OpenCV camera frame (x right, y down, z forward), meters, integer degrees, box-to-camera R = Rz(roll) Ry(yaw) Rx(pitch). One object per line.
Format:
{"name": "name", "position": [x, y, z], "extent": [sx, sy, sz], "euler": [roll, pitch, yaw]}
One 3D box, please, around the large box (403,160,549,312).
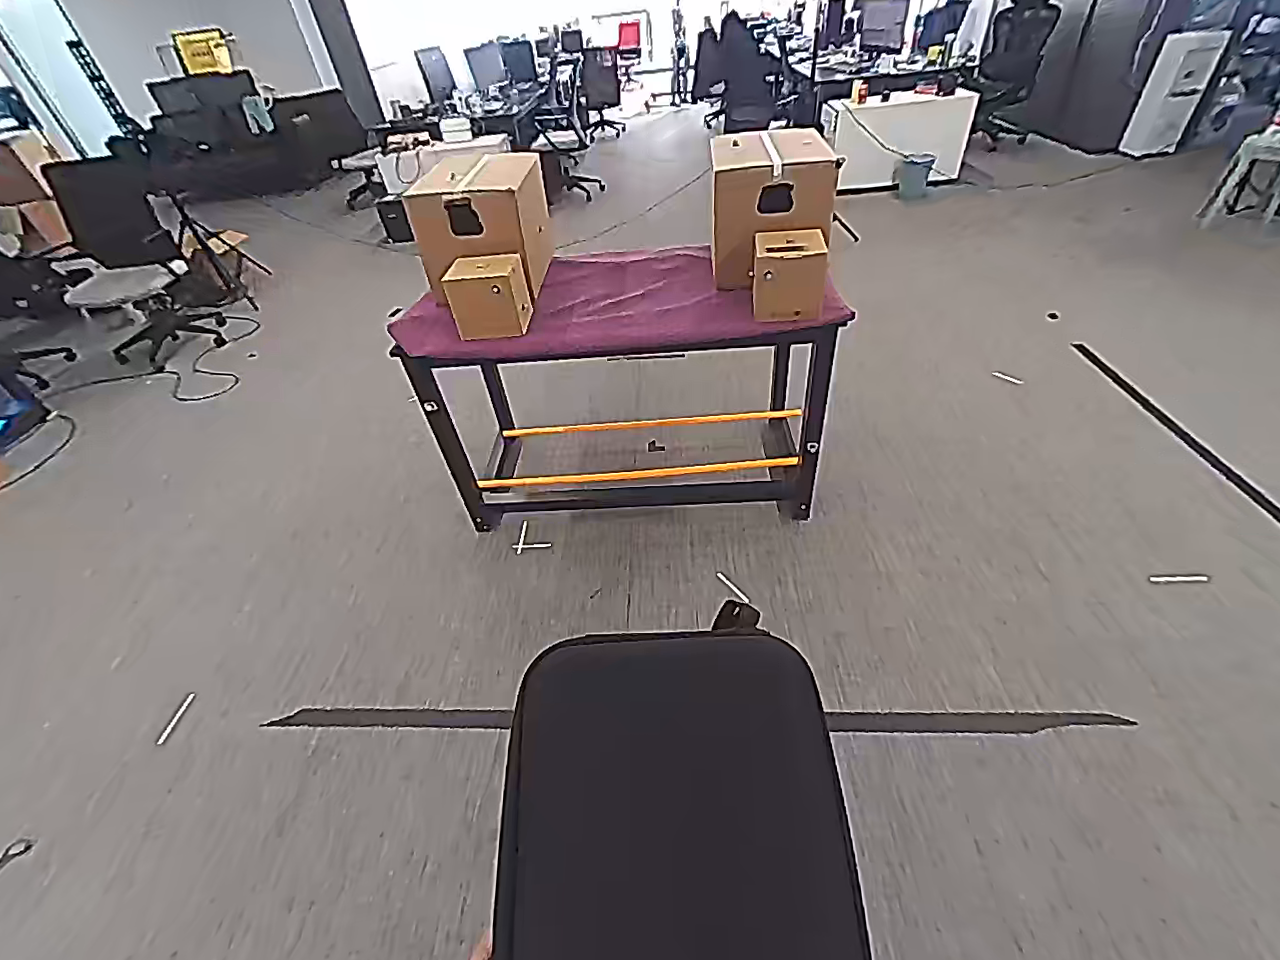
{"name": "large box", "position": [-0.476, -0.761, 1.676], "extent": [0.320, 0.320, 0.408], "euler": [-3, 44, 3]}

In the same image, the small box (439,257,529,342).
{"name": "small box", "position": [-0.416, -0.487, 1.469], "extent": [0.179, 0.176, 0.168], "euler": [-4, 41, 2]}
